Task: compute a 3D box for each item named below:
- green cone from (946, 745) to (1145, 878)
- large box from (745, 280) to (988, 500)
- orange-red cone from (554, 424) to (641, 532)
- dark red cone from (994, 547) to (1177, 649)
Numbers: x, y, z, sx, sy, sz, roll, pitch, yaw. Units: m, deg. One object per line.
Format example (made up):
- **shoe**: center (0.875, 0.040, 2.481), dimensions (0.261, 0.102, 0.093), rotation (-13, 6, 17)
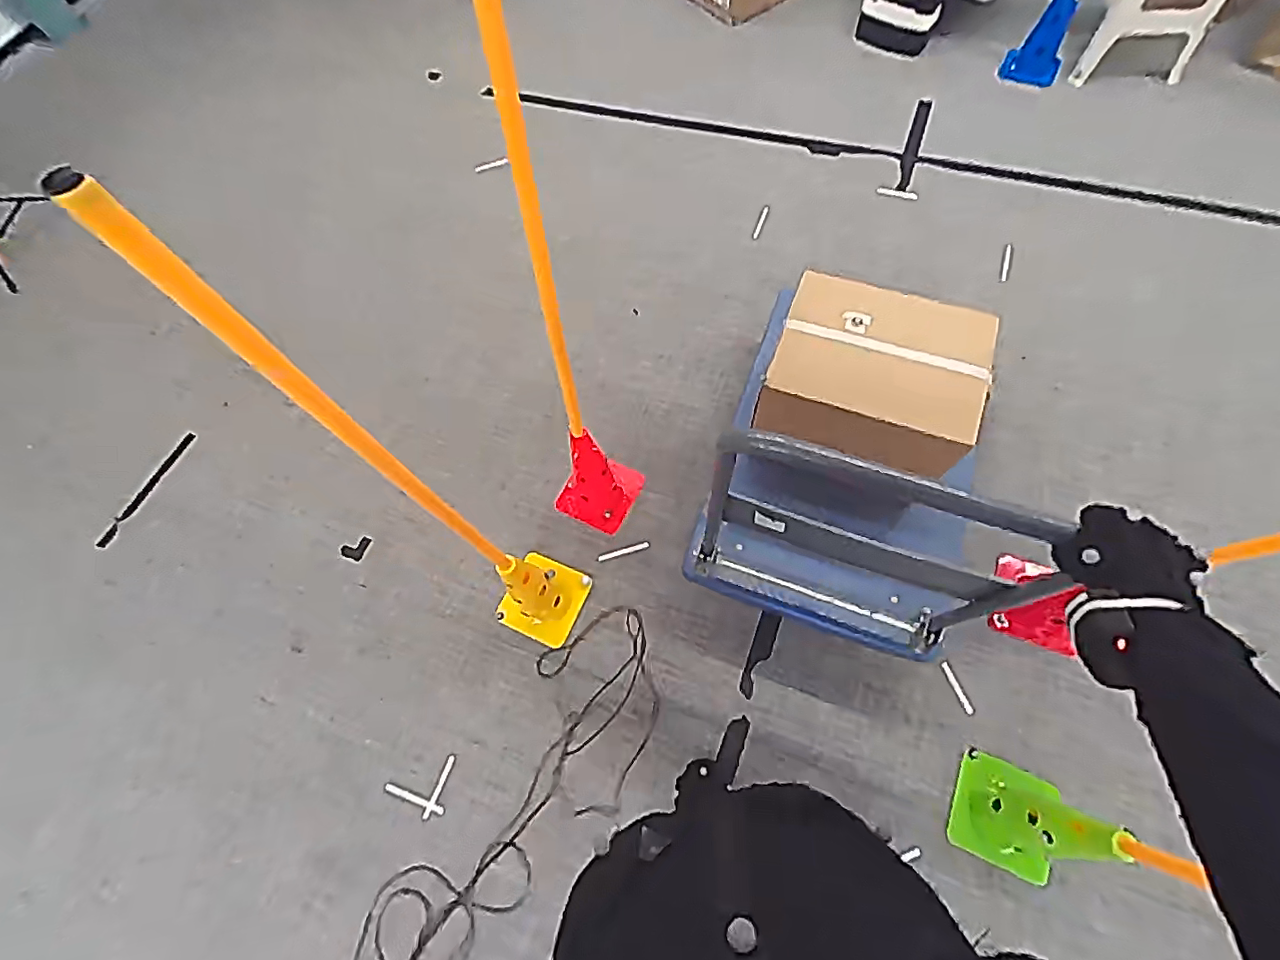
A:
- **green cone**: center (0.765, 0.638, 1.001), dimensions (0.202, 0.368, 0.200), rotation (22, 70, 12)
- **large box**: center (0.488, -0.193, 1.231), dimensions (0.408, 0.320, 0.320), rotation (19, 70, 13)
- **orange-red cone**: center (-0.127, -0.039, 1.371), dimensions (0.198, 0.360, 0.199), rotation (25, 69, 14)
- **dark red cone**: center (0.956, 0.217, 1.151), dimensions (0.201, 0.394, 0.202), rotation (19, 69, 10)
